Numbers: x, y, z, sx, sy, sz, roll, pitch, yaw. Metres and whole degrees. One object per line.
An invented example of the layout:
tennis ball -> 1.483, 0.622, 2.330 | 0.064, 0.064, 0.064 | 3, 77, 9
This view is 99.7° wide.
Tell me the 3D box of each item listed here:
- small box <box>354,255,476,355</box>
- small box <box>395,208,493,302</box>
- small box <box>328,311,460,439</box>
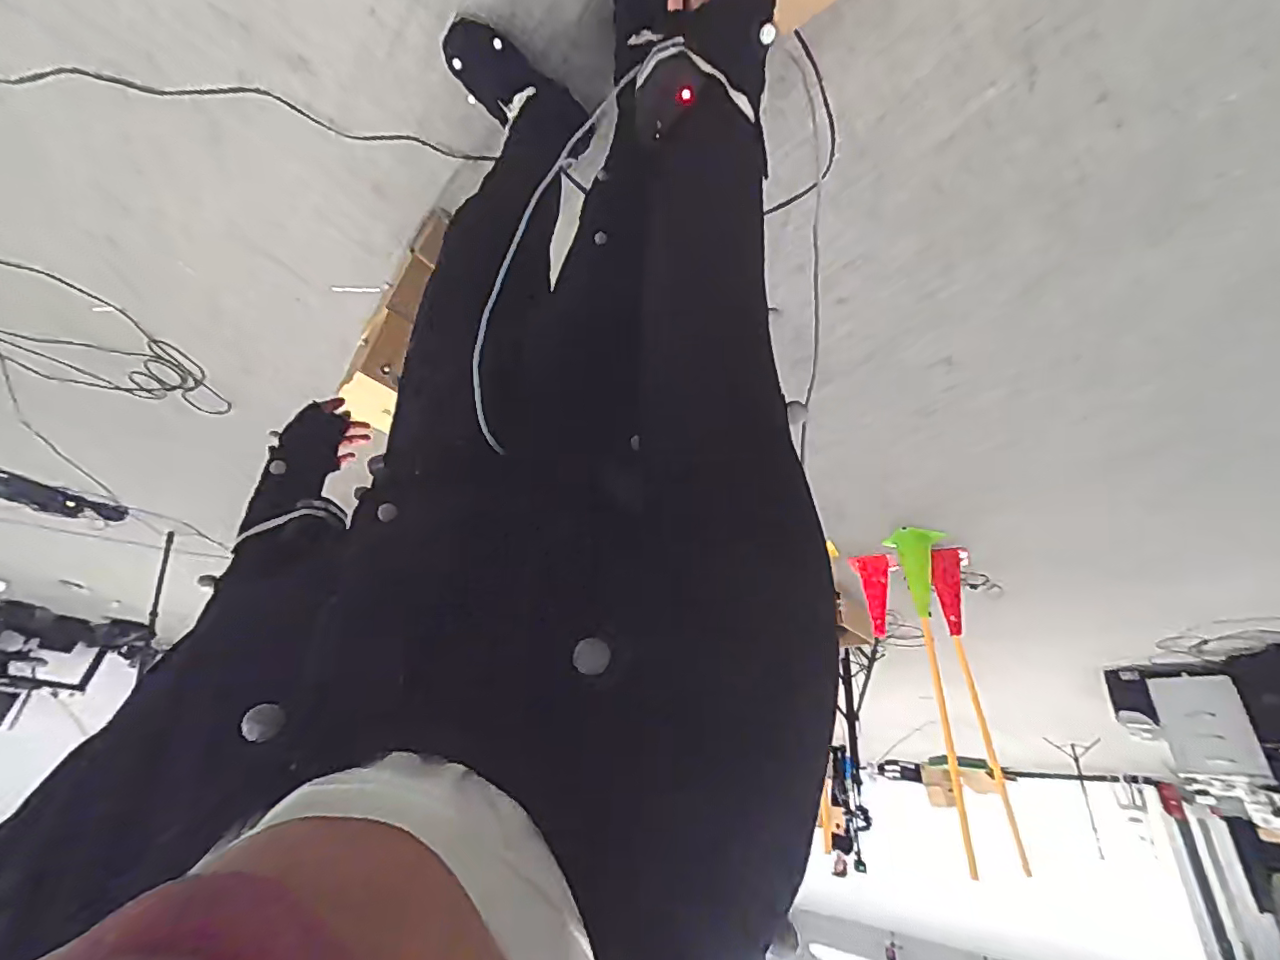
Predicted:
small box -> -0.495, -0.360, 1.211 | 0.168, 0.176, 0.179 | -21, 138, 40
small box -> -0.471, -0.503, 1.290 | 0.179, 0.176, 0.168 | -22, 138, 40
small box -> -0.508, -0.217, 1.134 | 0.168, 0.176, 0.179 | -22, 138, 40
